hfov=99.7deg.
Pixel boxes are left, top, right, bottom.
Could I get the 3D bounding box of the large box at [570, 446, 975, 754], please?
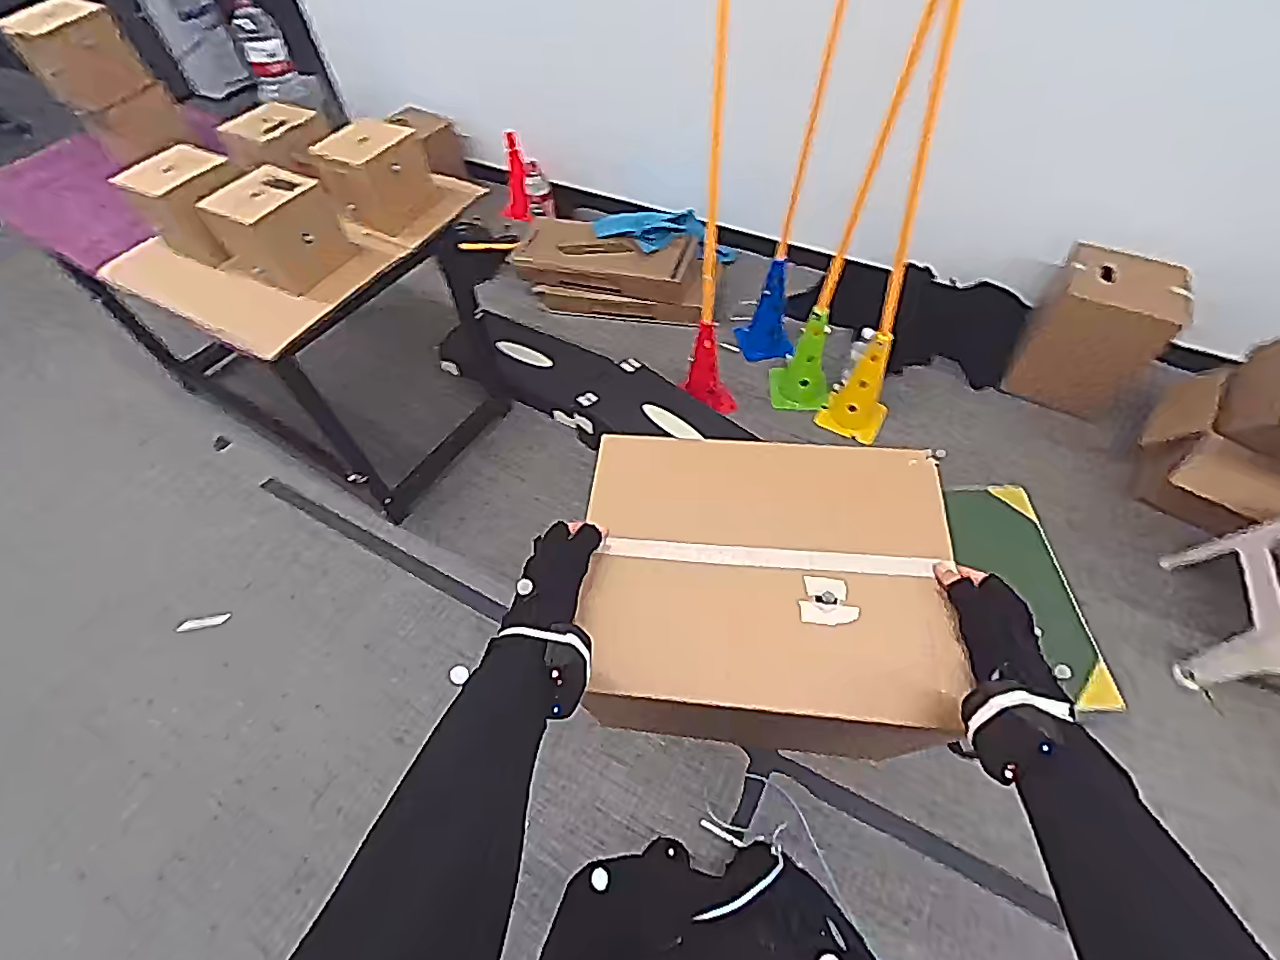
[{"bbox_3d":[0.147,0.171,0.735,0.408,0.320,0.320,3,60,7],"label":"large box"}]
